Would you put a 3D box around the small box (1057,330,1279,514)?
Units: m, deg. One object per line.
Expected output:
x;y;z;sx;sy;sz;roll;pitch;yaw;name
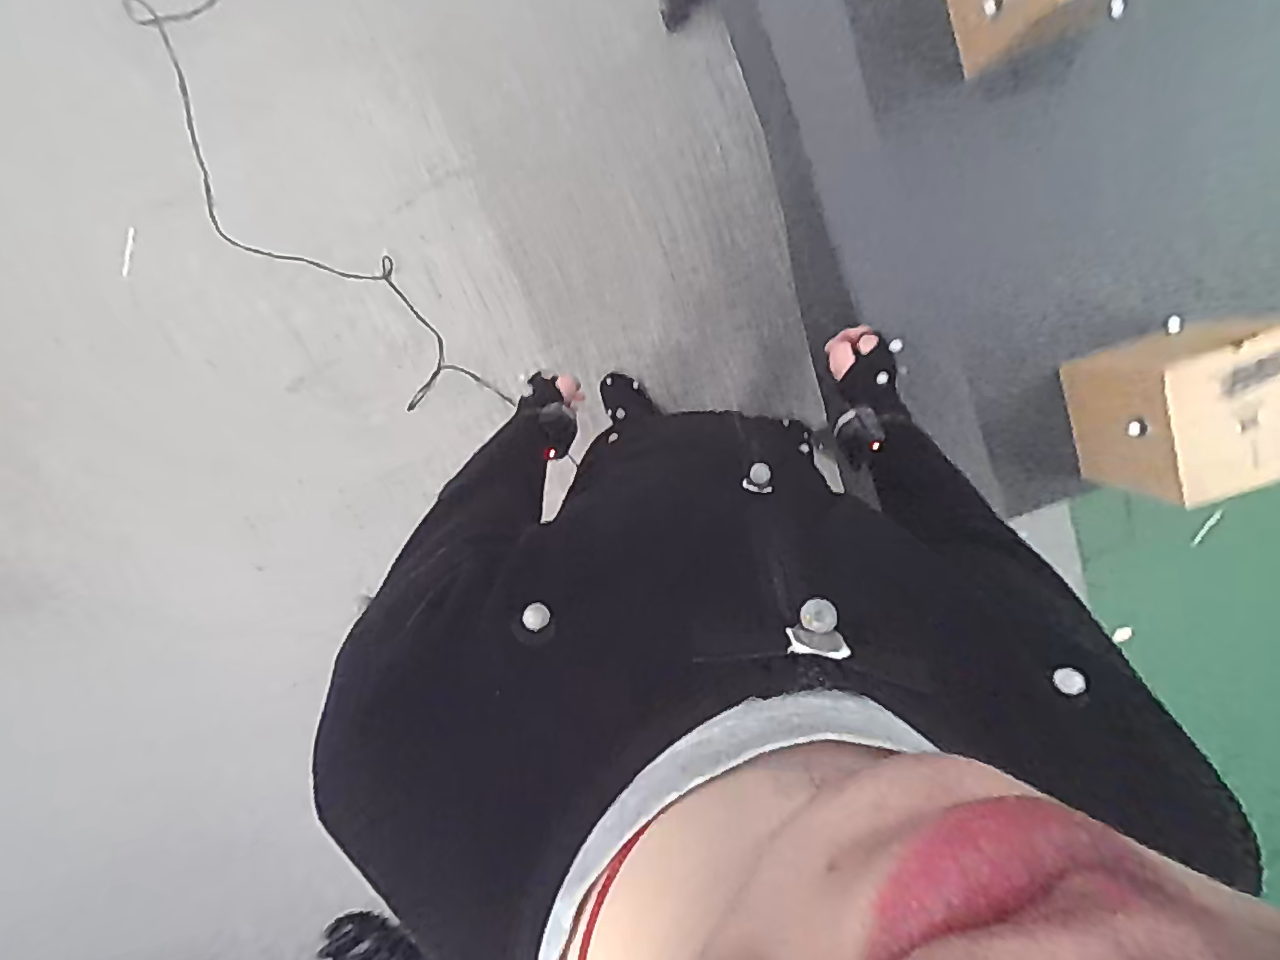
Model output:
0.687;-0.080;0.699;0.168;0.176;0.179;-19;102;5;small box
